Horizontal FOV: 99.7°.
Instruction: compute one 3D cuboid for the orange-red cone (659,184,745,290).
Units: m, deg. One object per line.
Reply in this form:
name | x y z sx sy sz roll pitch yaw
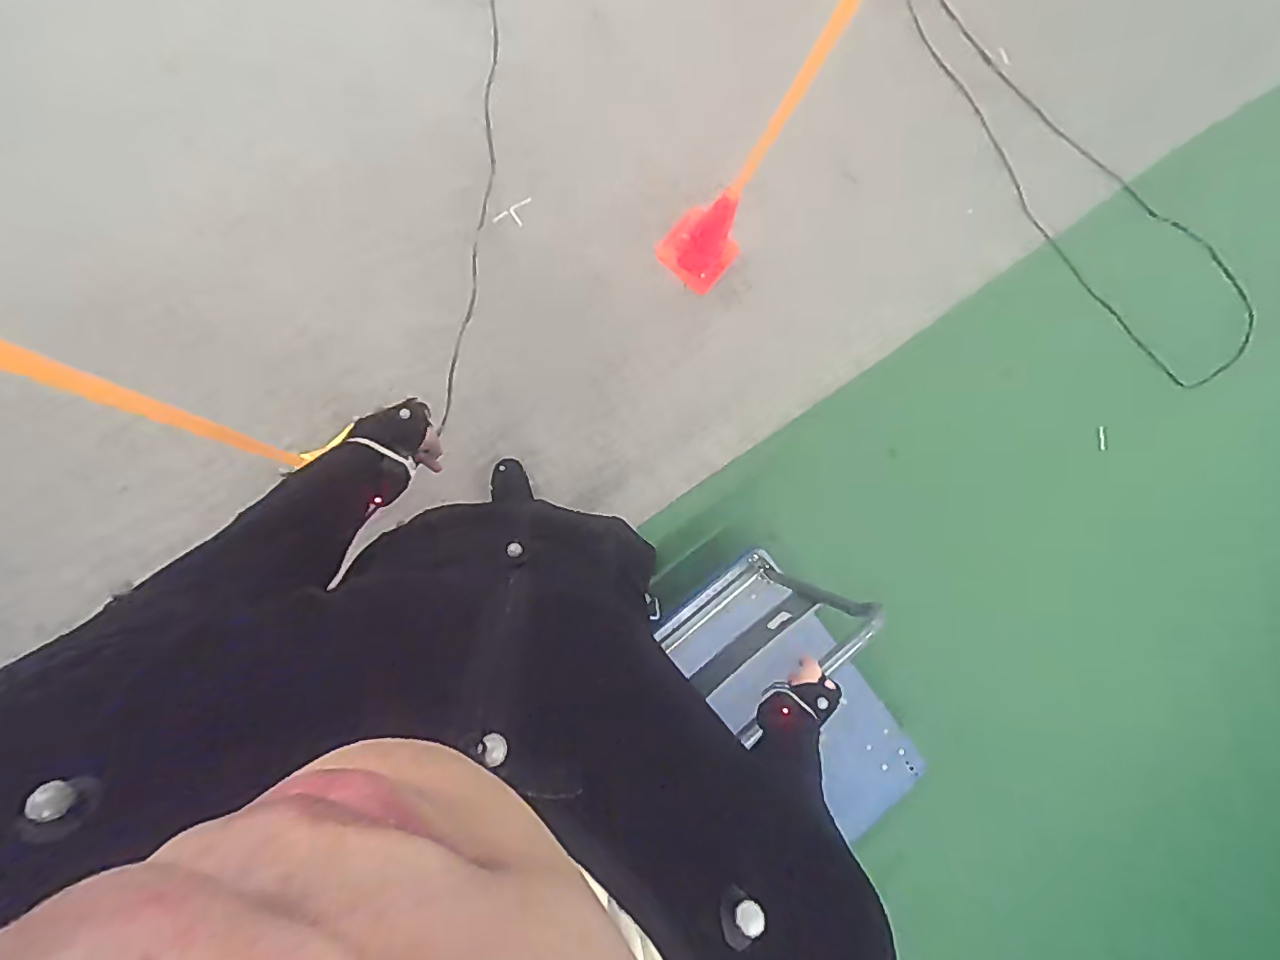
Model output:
orange-red cone | 0.210 -0.709 1.490 0.198 0.360 0.199 42 84 -8
